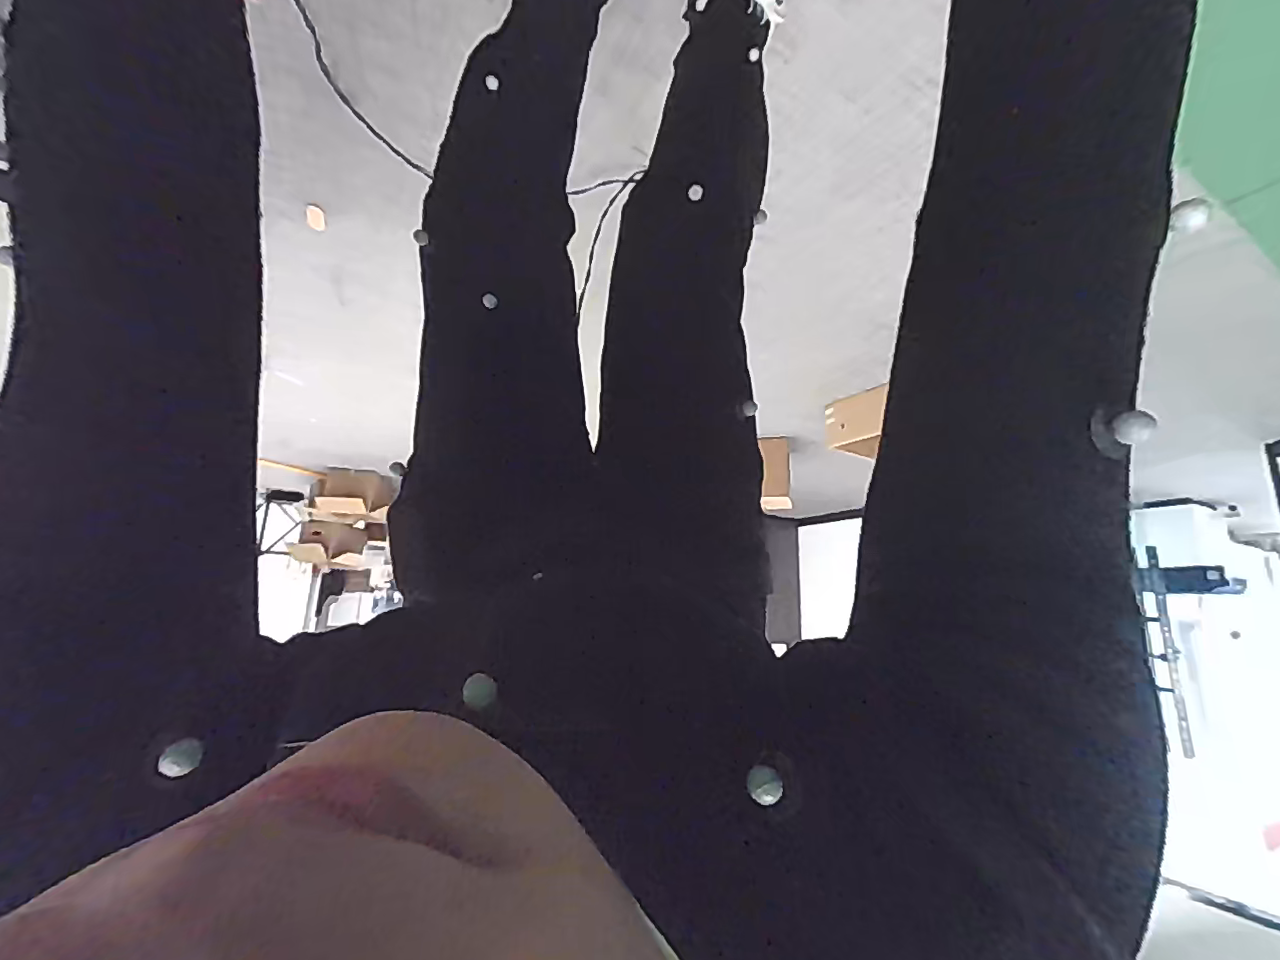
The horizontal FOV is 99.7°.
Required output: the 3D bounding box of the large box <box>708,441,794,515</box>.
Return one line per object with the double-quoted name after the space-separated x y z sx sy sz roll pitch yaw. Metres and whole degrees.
0.583 0.000 2.830 0.408 0.320 0.320 -3 166 18 "large box"
